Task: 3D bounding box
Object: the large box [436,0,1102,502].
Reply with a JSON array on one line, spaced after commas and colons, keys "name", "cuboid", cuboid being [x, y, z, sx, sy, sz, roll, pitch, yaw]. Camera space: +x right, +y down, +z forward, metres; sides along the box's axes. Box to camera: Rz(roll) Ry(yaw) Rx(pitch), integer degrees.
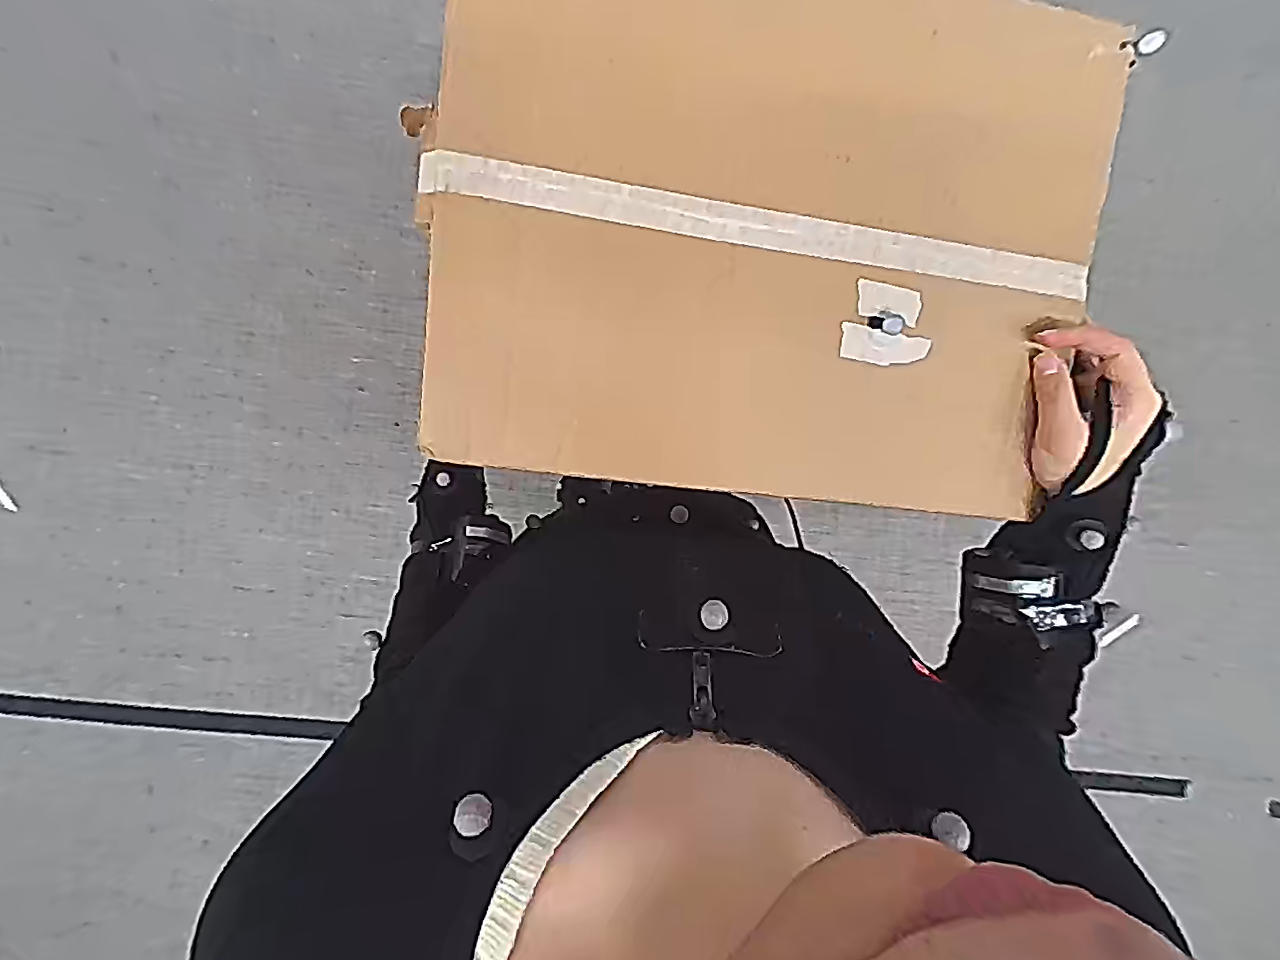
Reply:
[{"name": "large box", "cuboid": [0.064, -0.169, 0.476, 0.408, 0.320, 0.320, 6, 97, -10]}]
